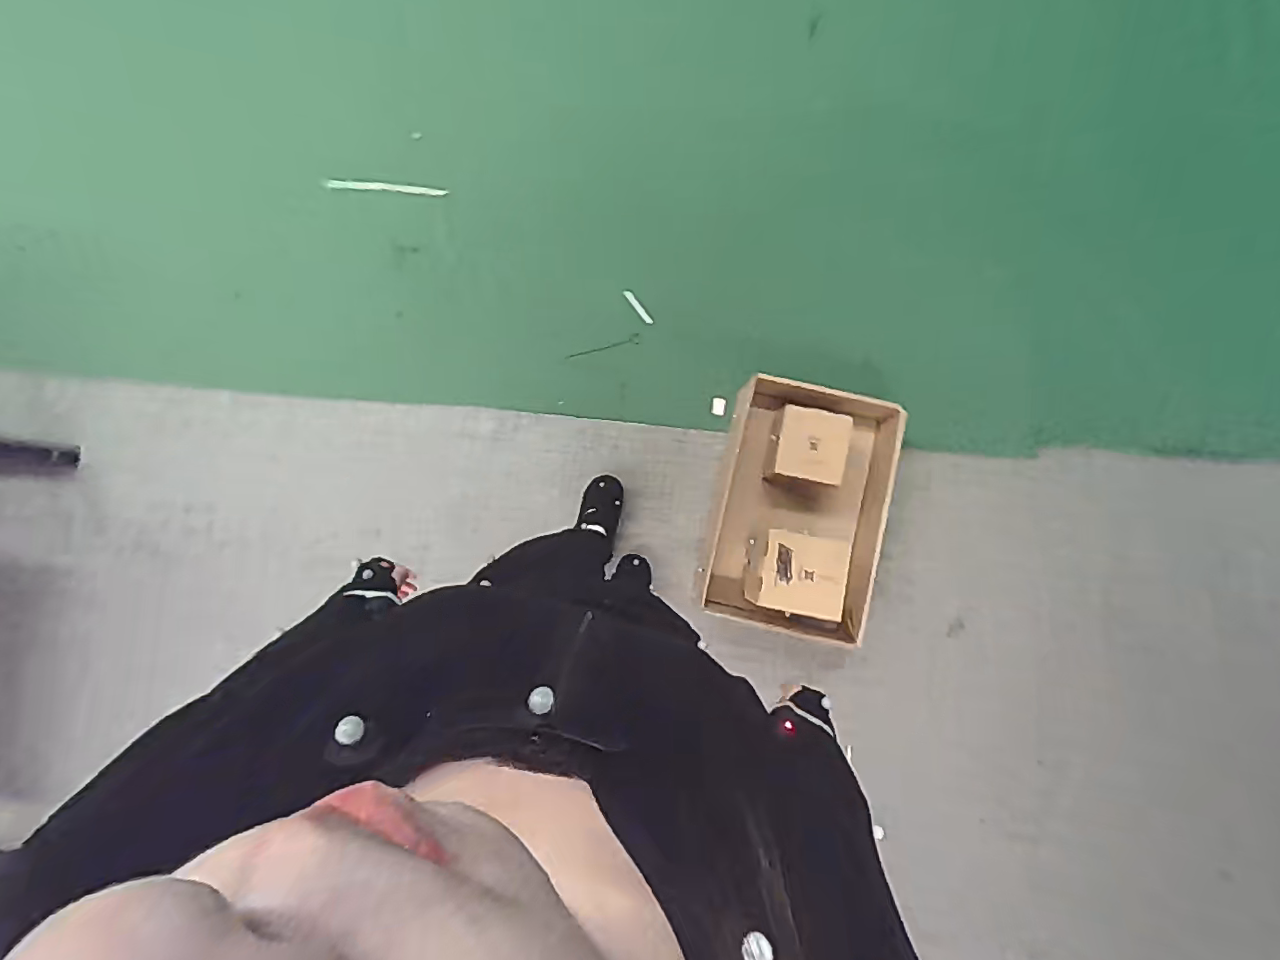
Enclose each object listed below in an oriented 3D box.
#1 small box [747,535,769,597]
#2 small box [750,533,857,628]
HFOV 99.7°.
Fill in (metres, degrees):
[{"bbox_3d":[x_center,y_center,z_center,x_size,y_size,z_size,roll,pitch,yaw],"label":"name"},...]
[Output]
[{"bbox_3d":[0.373,0.236,1.361,0.179,0.176,0.168,10,85,4],"label":"small box"},{"bbox_3d":[0.352,0.218,1.199,0.179,0.176,0.168,12,84,3],"label":"small box"}]
